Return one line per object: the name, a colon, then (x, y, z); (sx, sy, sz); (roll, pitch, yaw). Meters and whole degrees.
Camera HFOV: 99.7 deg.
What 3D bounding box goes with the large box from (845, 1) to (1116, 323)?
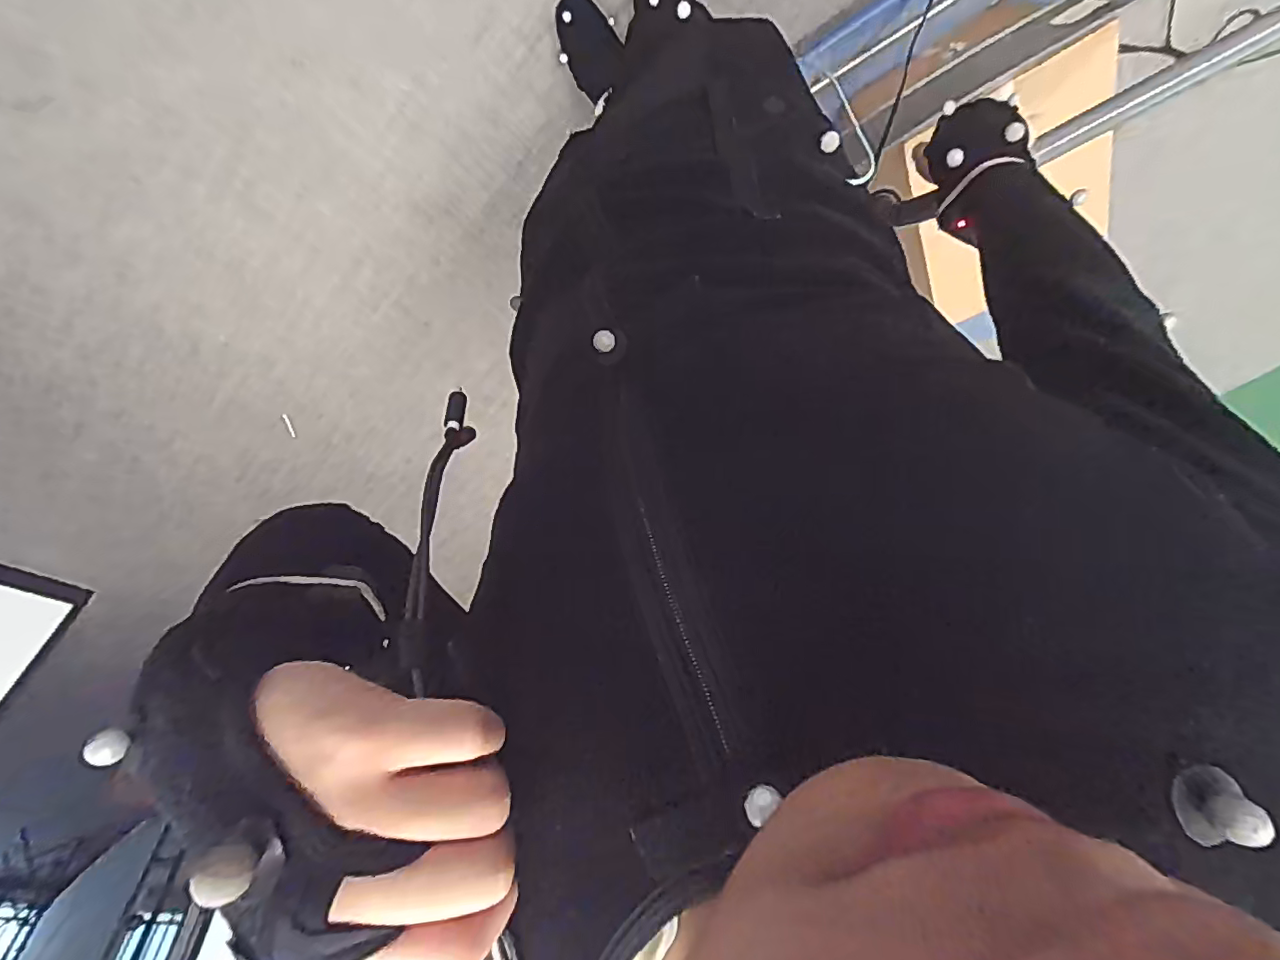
large box: (0.654, -0.608, 1.065); (0.320, 0.320, 0.408); (-25, 133, 19)
